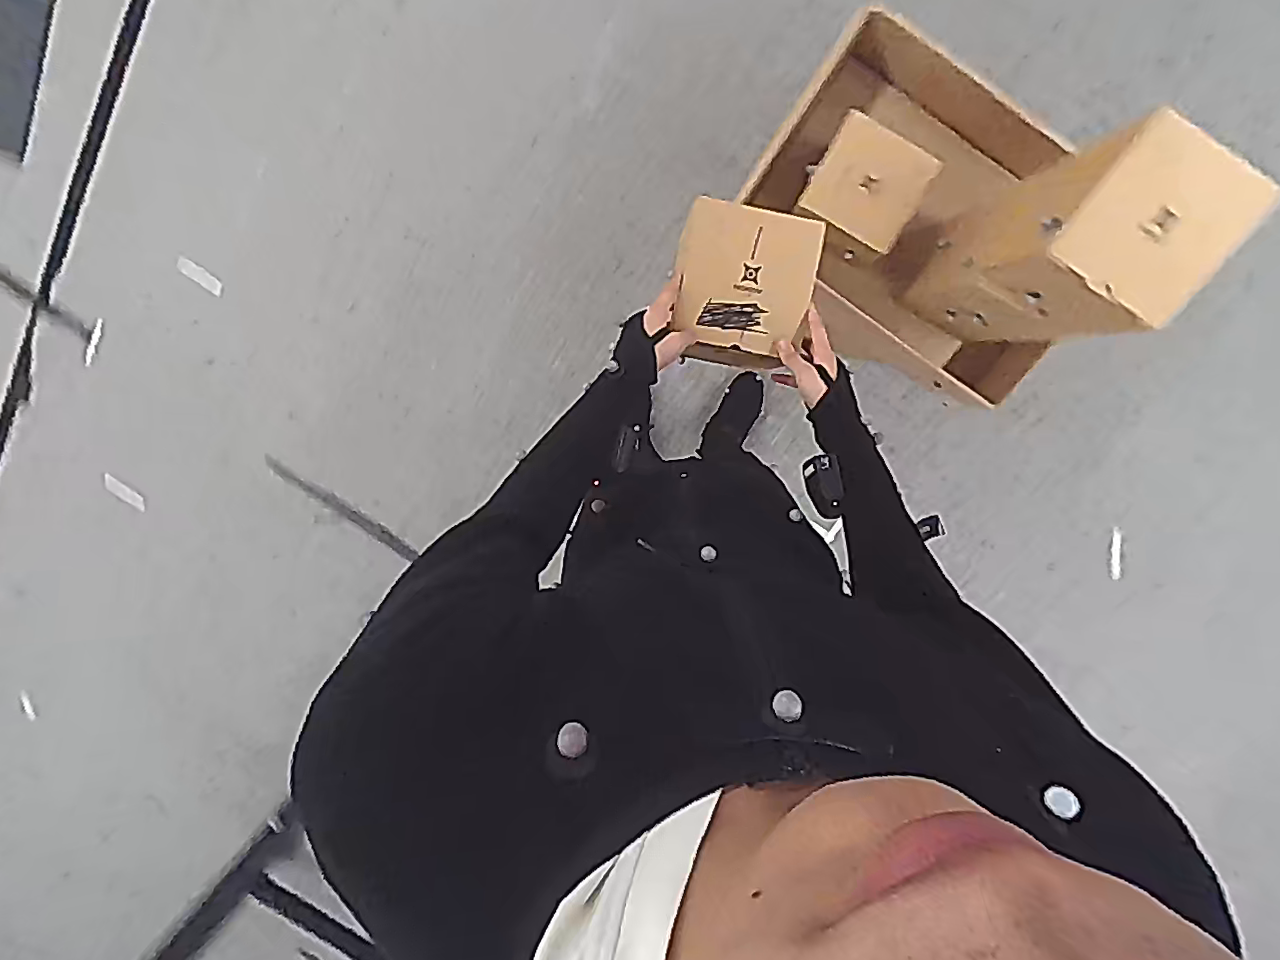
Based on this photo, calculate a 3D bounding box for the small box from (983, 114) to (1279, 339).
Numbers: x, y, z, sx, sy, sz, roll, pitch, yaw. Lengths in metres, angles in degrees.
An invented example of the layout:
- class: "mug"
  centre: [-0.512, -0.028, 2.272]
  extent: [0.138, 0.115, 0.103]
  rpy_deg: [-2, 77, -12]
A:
- class: "small box"
  centre: [0.582, -0.295, 0.673]
  extent: [0.168, 0.176, 0.179]
  rpy_deg: [34, 105, -2]

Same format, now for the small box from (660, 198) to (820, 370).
- class: "small box"
  centre: [0.124, -0.254, 0.747]
  extent: [0.168, 0.176, 0.179]
  rpy_deg: [9, 96, -4]
